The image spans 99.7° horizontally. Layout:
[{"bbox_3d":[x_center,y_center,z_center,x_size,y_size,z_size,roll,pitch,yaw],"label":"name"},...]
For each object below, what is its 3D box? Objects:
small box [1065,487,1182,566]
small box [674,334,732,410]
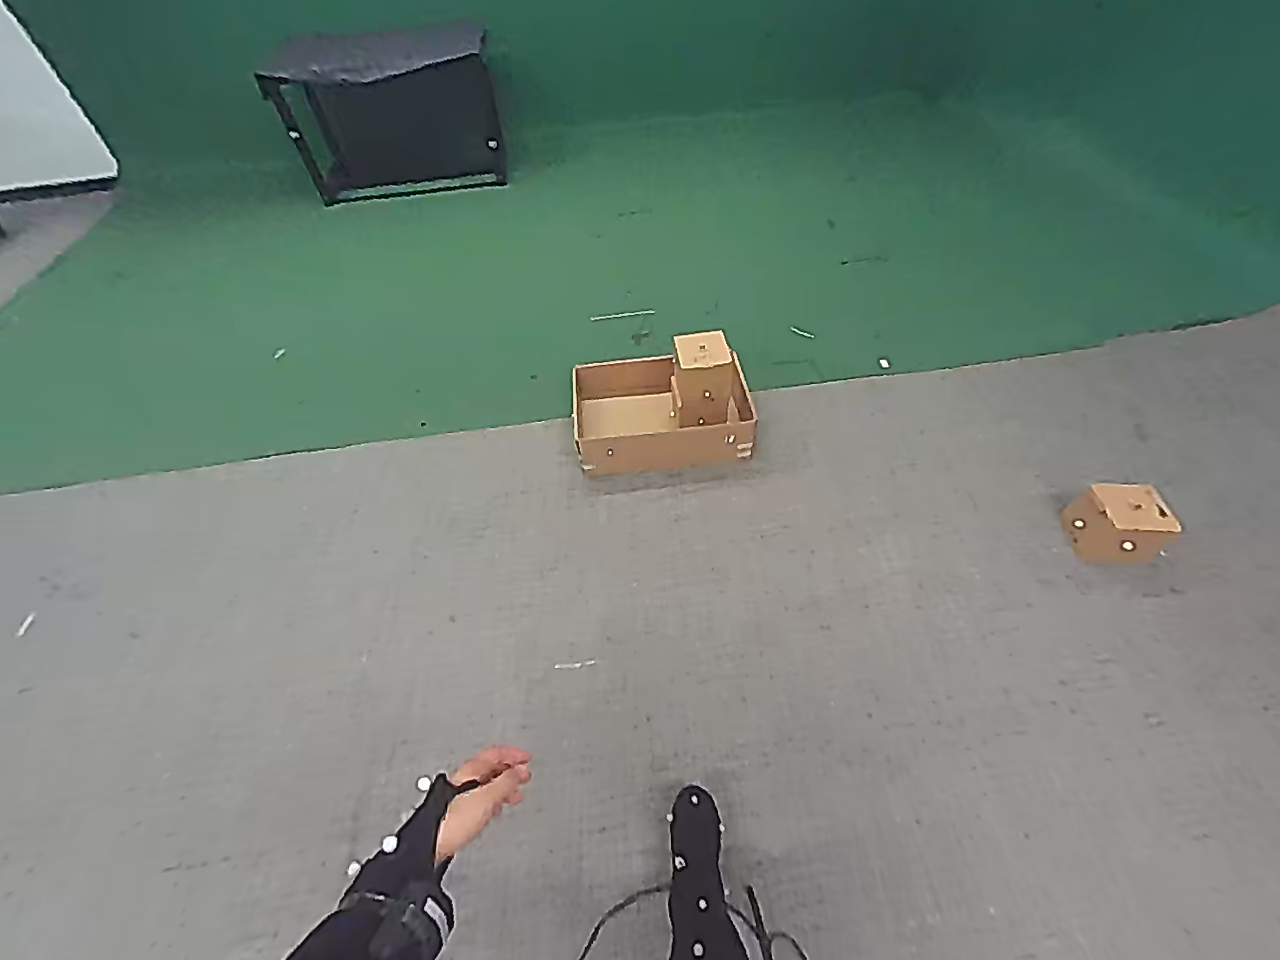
[{"bbox_3d":[1.388,0.138,1.574,0.179,0.176,0.168,1,50,6],"label":"small box"},{"bbox_3d":[0.205,-0.358,1.796,0.168,0.176,0.179,-8,51,-1],"label":"small box"}]
